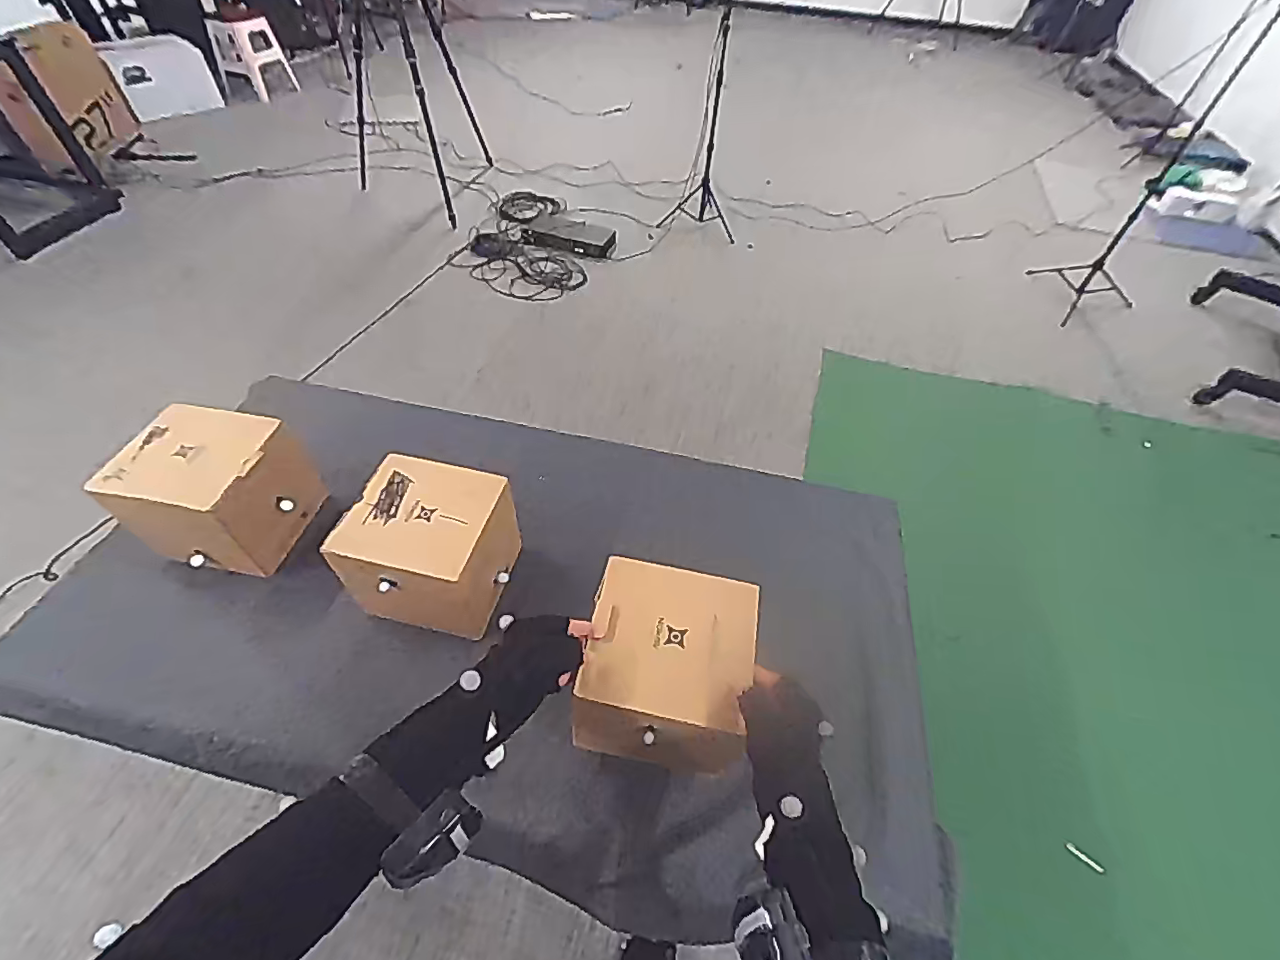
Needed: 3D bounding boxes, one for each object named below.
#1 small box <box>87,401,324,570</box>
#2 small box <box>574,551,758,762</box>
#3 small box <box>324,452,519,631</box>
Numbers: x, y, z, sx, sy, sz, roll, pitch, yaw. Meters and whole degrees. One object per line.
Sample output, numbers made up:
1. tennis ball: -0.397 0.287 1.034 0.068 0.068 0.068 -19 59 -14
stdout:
1. small box: -0.606 0.013 0.789 0.179 0.176 0.168 10 51 3
2. small box: 0.028 0.209 0.632 0.179 0.176 0.168 12 50 3
3. small box: -0.283 0.089 0.749 0.179 0.176 0.168 12 51 5
